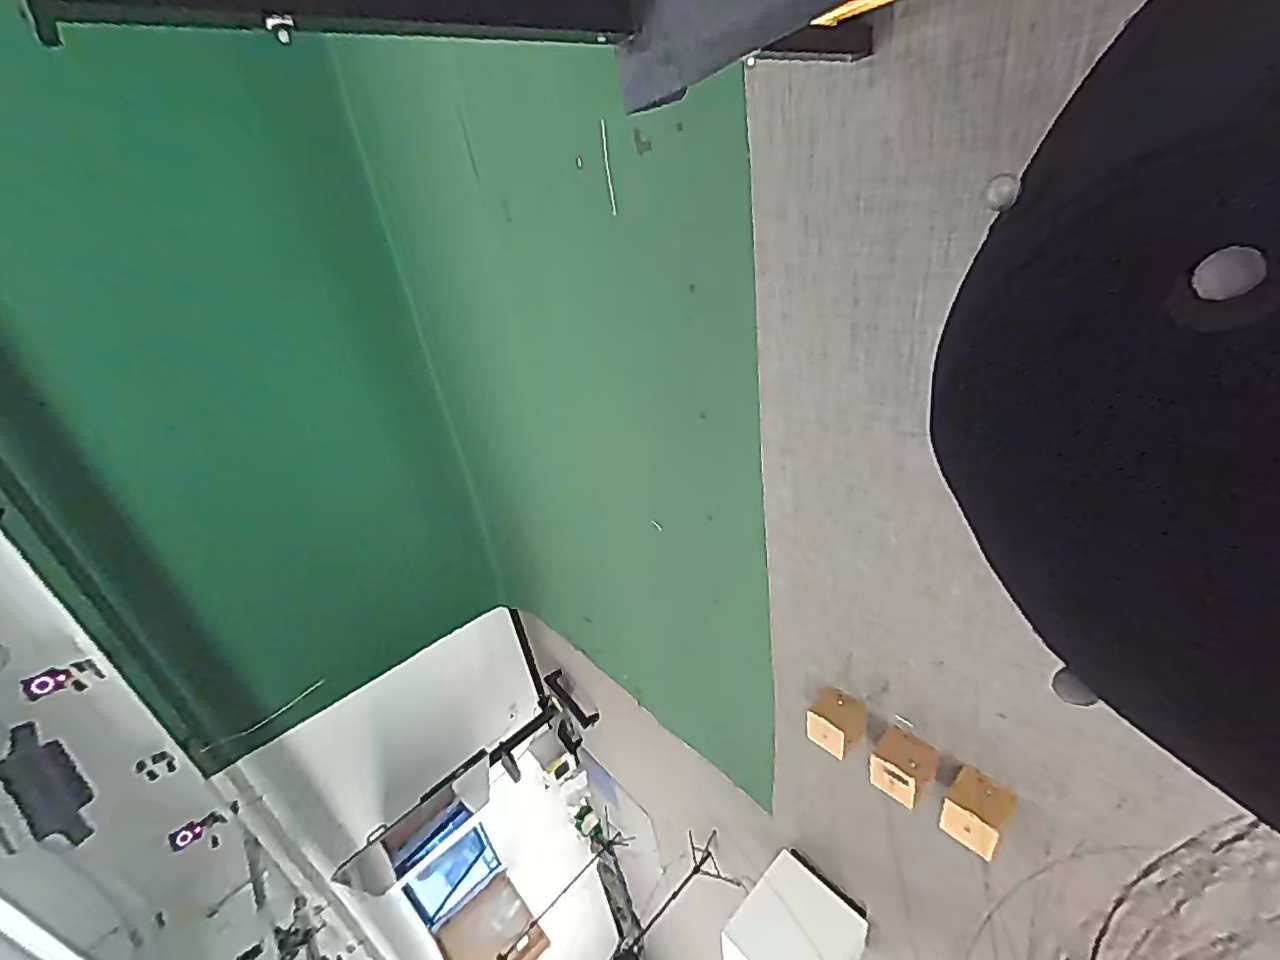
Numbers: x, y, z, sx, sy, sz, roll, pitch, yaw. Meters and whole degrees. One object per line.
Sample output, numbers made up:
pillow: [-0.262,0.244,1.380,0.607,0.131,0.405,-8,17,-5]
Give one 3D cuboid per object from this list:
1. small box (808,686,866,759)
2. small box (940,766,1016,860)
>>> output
small box: [0.817,0.997,2.236,0.168,0.176,0.179,23,130,44]
small box: [1.163,1.140,1.861,0.168,0.176,0.179,22,130,44]
